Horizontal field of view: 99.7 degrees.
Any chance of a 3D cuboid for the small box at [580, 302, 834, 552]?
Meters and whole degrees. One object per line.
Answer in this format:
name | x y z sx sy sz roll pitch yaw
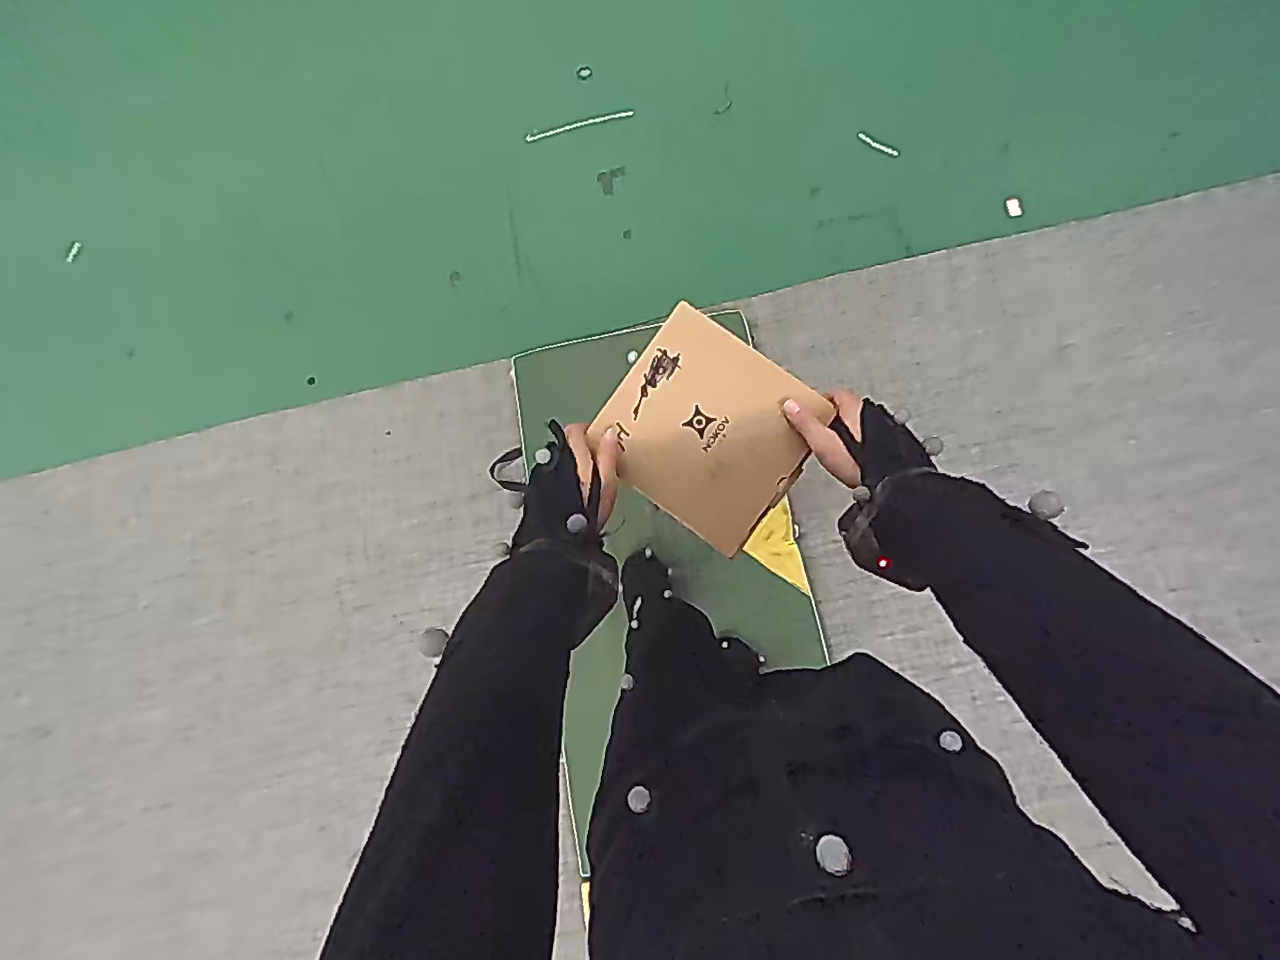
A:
small box | 0.065 -0.048 0.571 0.179 0.176 0.168 37 90 3
